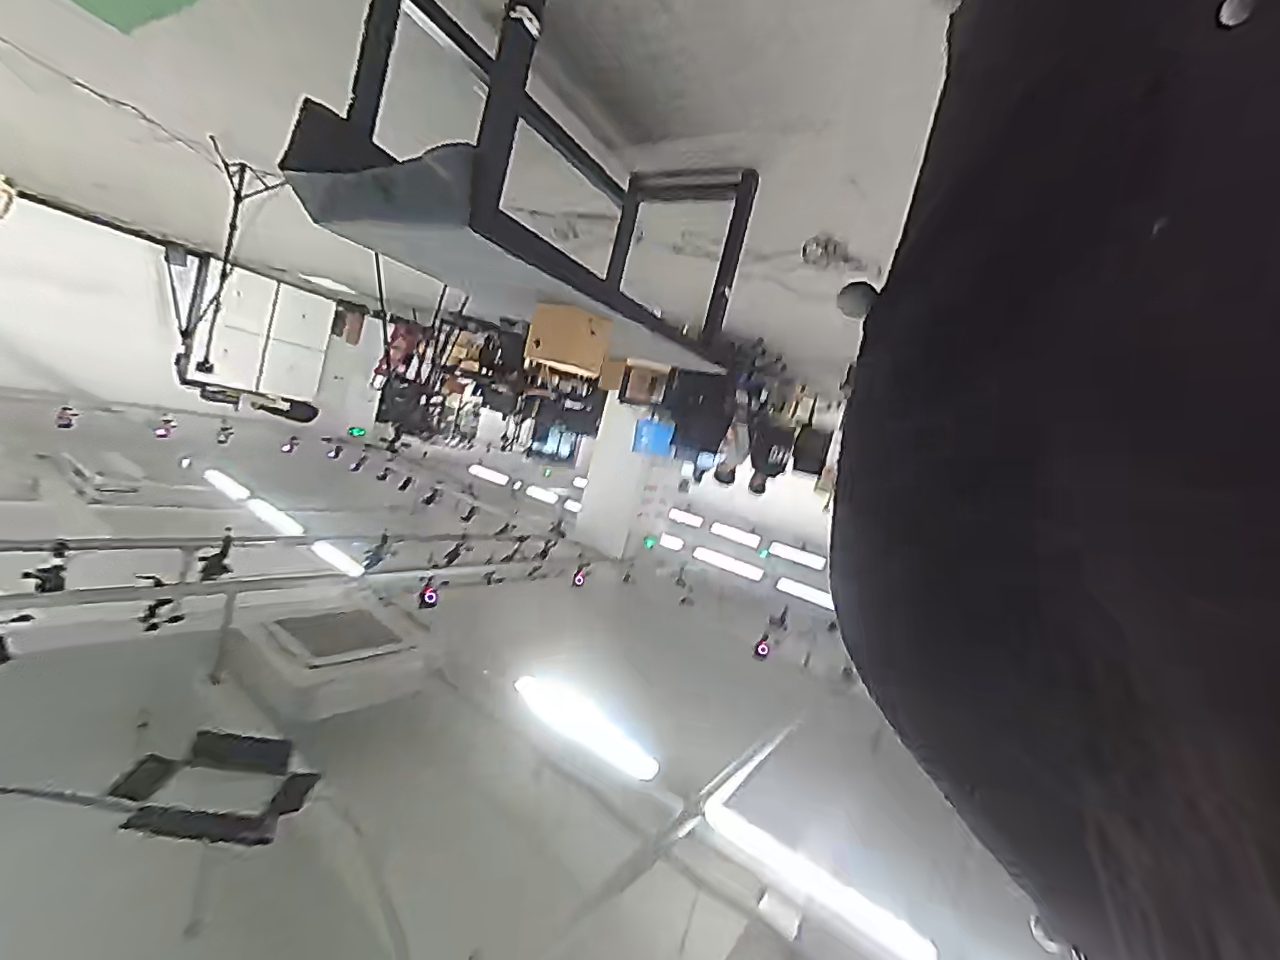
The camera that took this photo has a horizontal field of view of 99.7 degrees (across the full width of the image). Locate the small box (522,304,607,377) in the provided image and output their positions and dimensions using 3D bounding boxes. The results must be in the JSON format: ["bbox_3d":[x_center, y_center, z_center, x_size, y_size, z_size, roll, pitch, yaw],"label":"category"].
[{"bbox_3d":[-0.226,-0.427,1.645,0.179,0.176,0.168,17,-174,31],"label":"small box"}]
